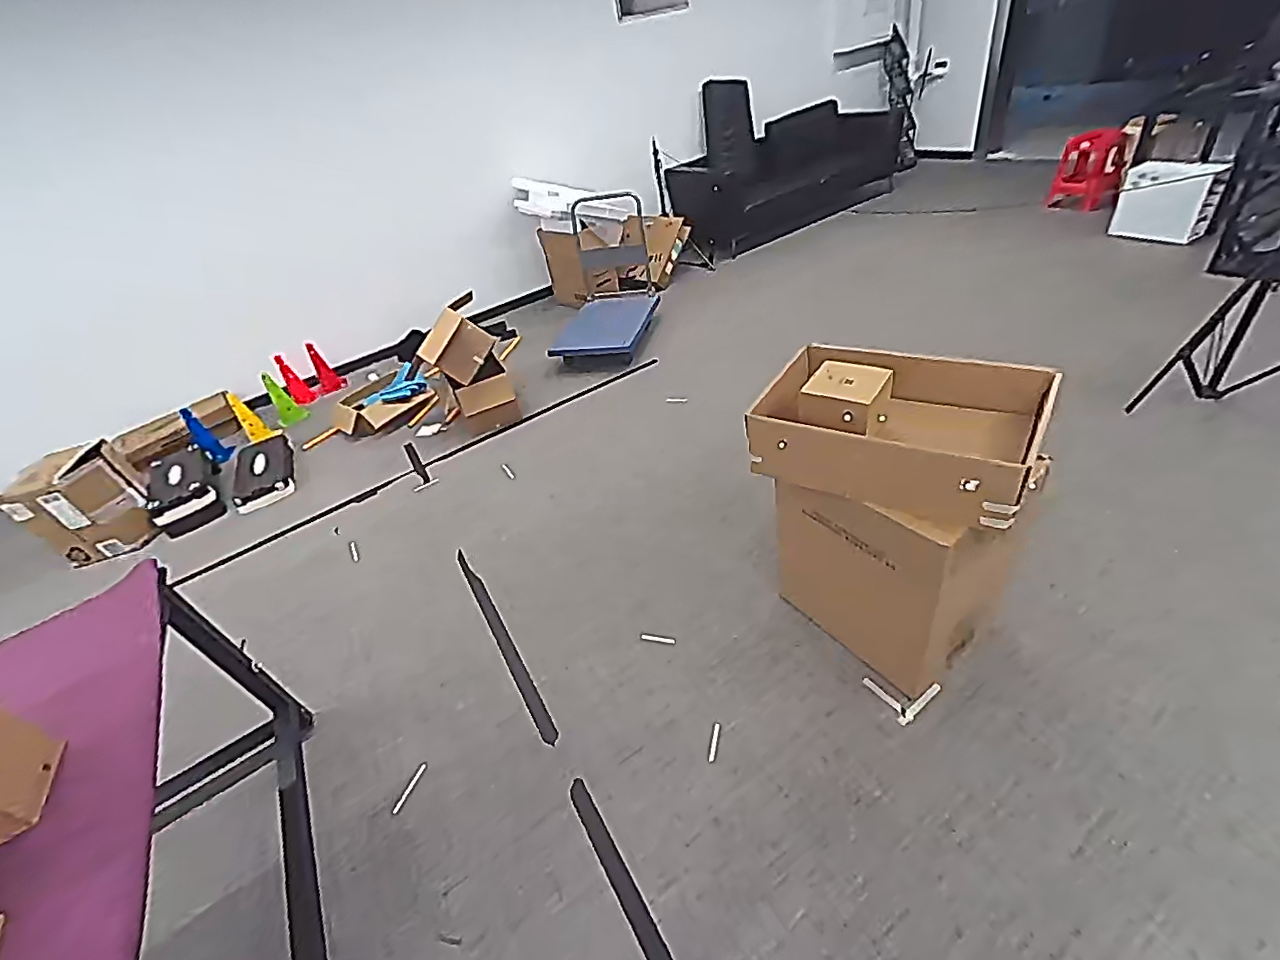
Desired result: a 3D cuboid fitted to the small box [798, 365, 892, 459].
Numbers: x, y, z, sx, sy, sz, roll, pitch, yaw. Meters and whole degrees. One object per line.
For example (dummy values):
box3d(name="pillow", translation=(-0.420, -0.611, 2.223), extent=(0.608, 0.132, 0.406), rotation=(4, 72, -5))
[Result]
box3d(name="small box", translation=(0.525, -0.174, 1.393), extent=(0.179, 0.176, 0.168), rotation=(18, 48, 35))
